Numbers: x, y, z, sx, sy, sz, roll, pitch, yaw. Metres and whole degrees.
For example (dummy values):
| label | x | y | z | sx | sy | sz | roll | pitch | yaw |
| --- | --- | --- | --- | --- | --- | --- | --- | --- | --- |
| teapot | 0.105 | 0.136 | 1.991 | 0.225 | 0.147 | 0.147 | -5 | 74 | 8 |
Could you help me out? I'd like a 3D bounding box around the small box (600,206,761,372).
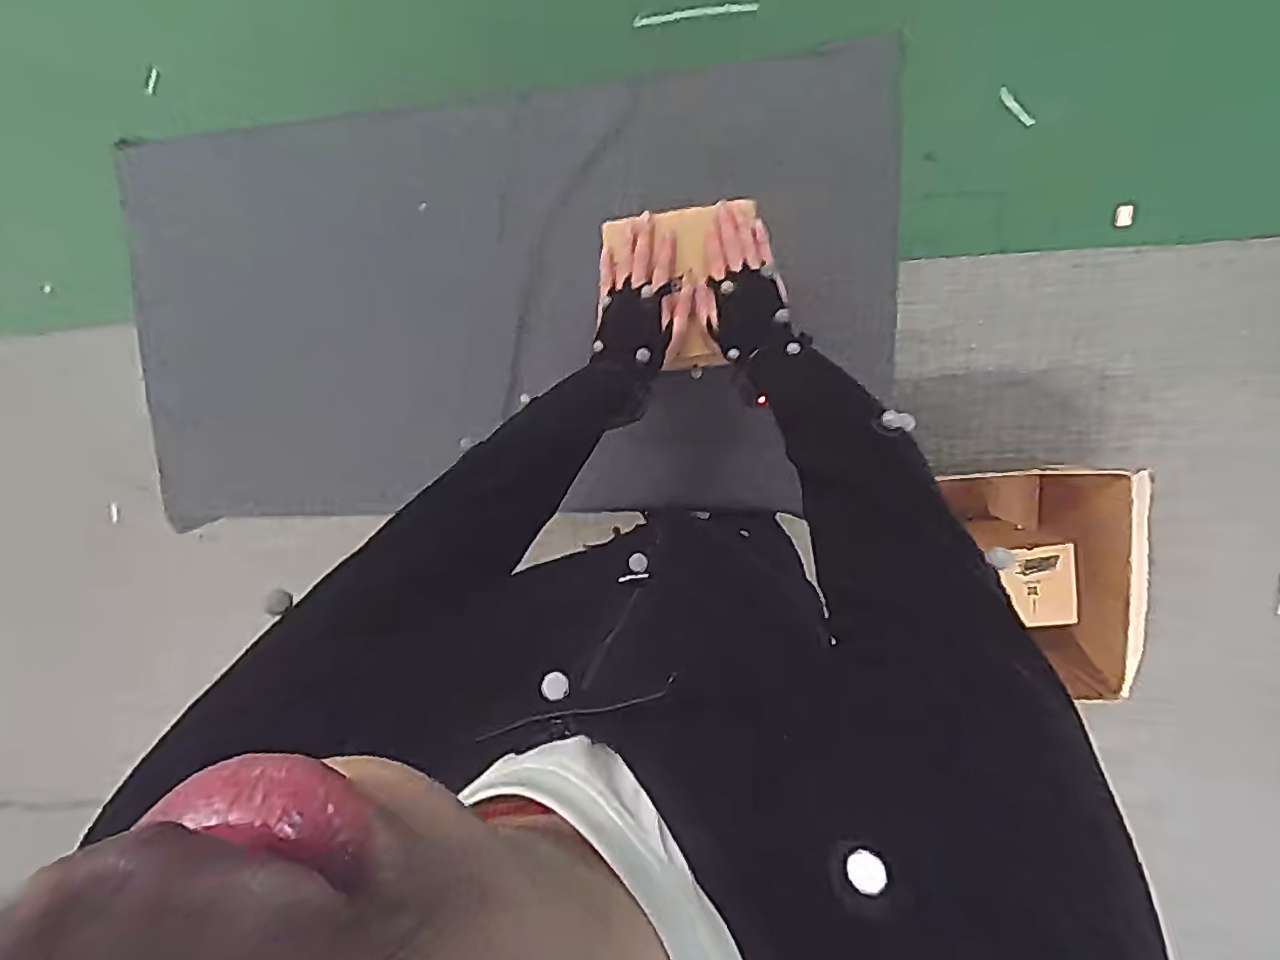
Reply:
| label | x | y | z | sx | sy | sz | roll | pitch | yaw |
| --- | --- | --- | --- | --- | --- | --- | --- | --- | --- |
| small box | 0.058 | -0.238 | 0.716 | 0.179 | 0.176 | 0.168 | -7 | 98 | 9 |
